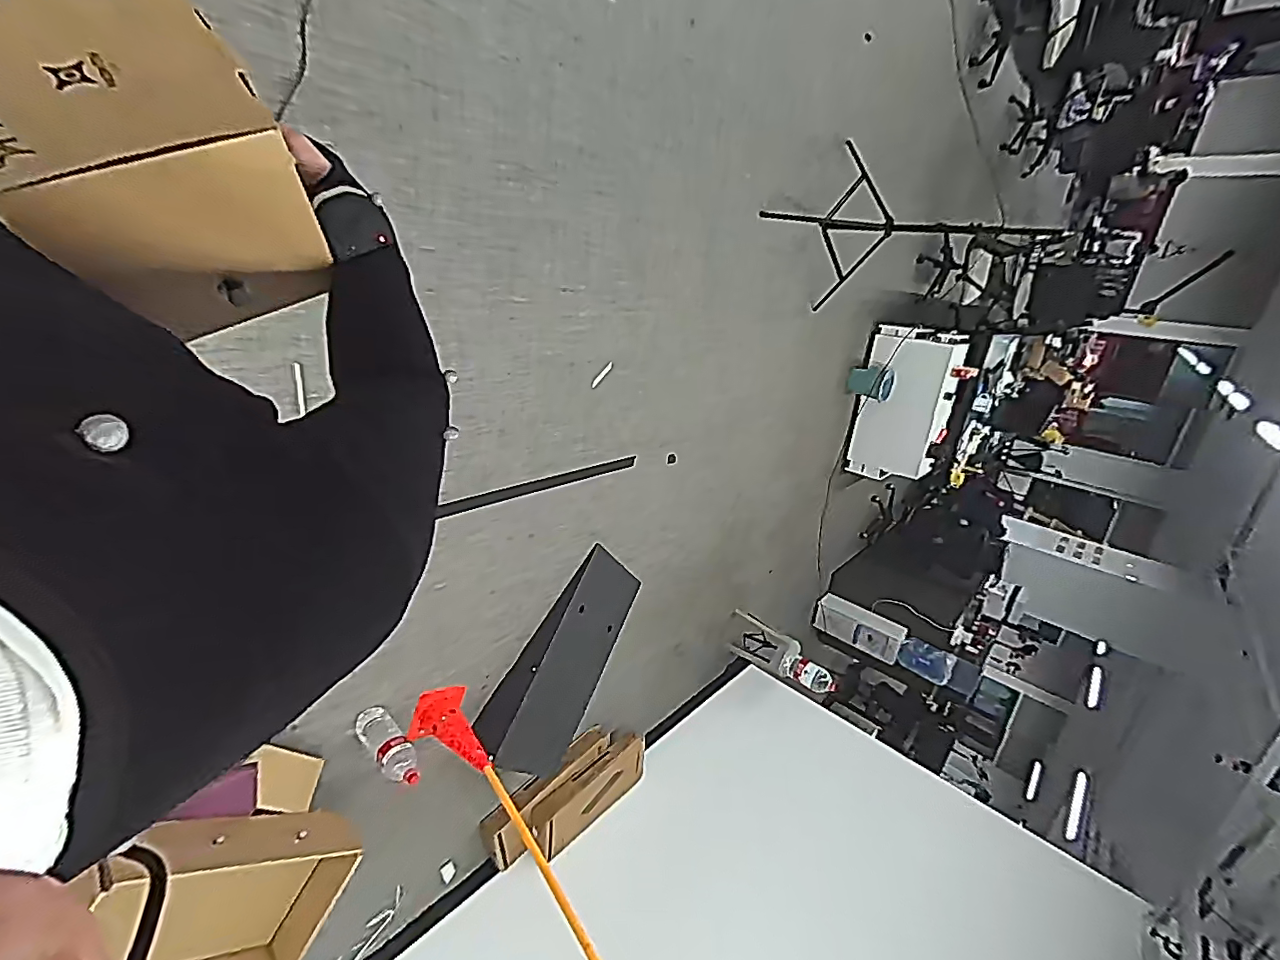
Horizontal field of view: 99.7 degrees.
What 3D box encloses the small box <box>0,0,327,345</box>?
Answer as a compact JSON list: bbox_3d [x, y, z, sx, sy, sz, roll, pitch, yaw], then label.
[{"bbox_3d":[-0.396,-0.249,0.457,0.179,0.168,0.176,-33,168,-23],"label":"small box"}]
